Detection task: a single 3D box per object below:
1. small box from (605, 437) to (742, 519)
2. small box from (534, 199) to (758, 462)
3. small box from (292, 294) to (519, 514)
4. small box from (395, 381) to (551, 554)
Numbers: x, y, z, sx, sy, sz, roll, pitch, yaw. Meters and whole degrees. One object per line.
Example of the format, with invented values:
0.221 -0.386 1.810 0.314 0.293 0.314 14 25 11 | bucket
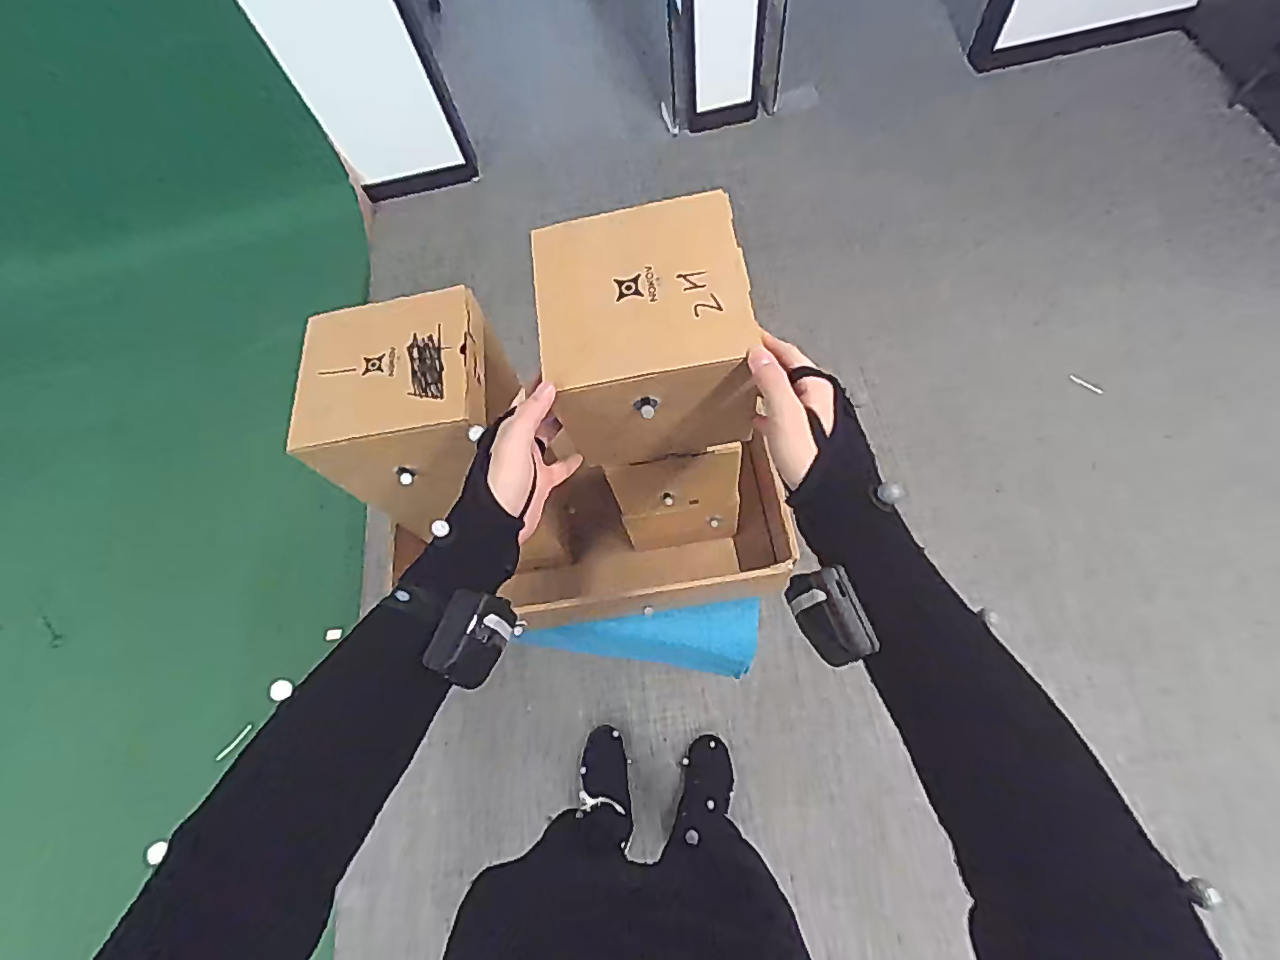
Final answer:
0.040 -0.064 0.744 0.168 0.176 0.179 -9 65 4 | small box
0.010 -0.128 0.523 0.179 0.176 0.168 -9 70 5 | small box
-0.240 -0.075 0.606 0.179 0.176 0.168 -10 64 4 | small box
-0.225 -0.011 0.756 0.168 0.176 0.179 -8 65 3 | small box
